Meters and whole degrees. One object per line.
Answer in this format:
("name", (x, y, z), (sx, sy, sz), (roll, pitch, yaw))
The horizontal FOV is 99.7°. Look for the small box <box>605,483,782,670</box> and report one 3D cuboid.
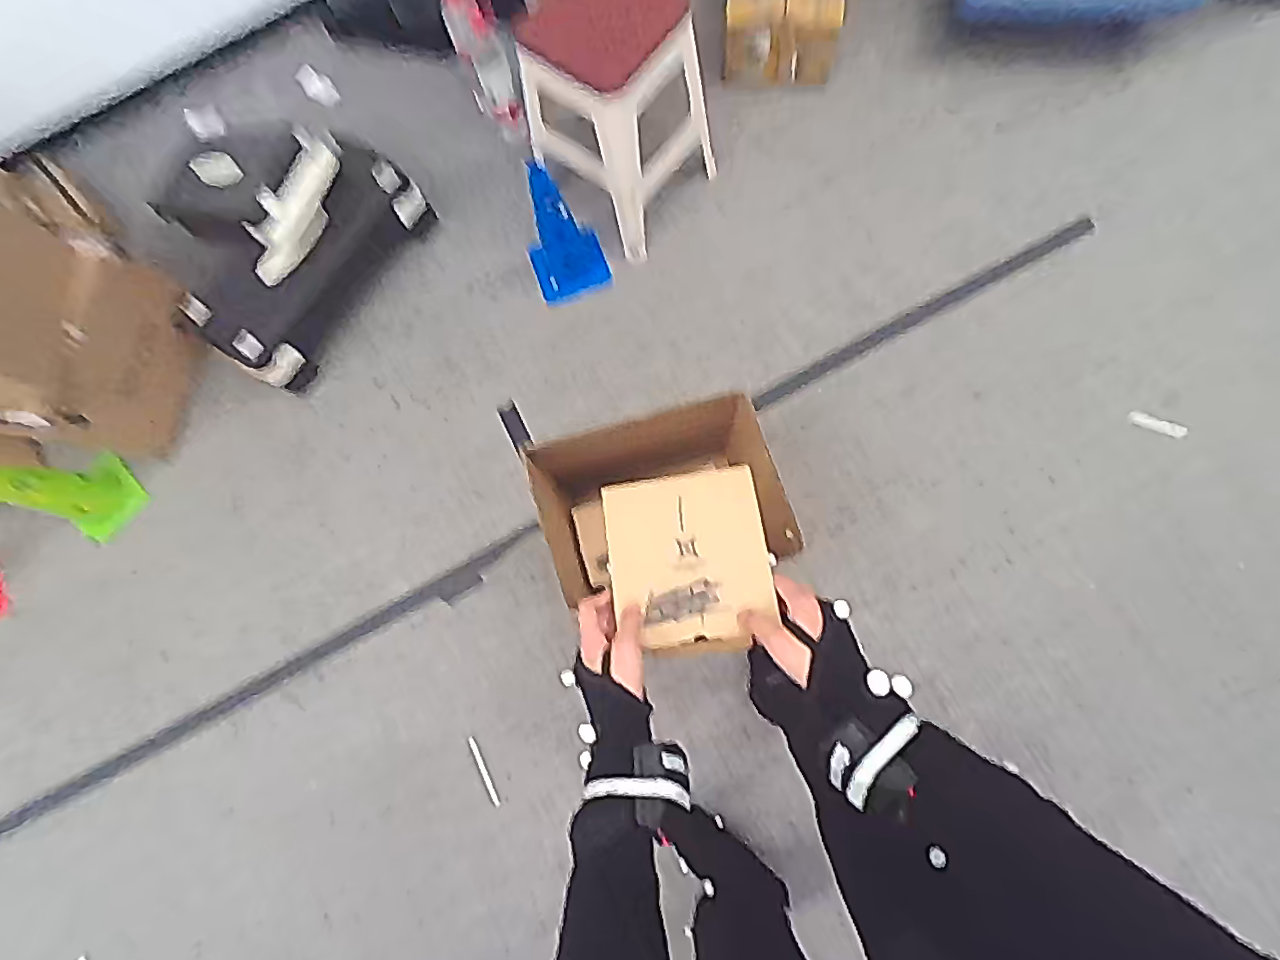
("small box", (0.061, 0.118, 0.637), (0.168, 0.176, 0.179), (-9, 73, 4))
